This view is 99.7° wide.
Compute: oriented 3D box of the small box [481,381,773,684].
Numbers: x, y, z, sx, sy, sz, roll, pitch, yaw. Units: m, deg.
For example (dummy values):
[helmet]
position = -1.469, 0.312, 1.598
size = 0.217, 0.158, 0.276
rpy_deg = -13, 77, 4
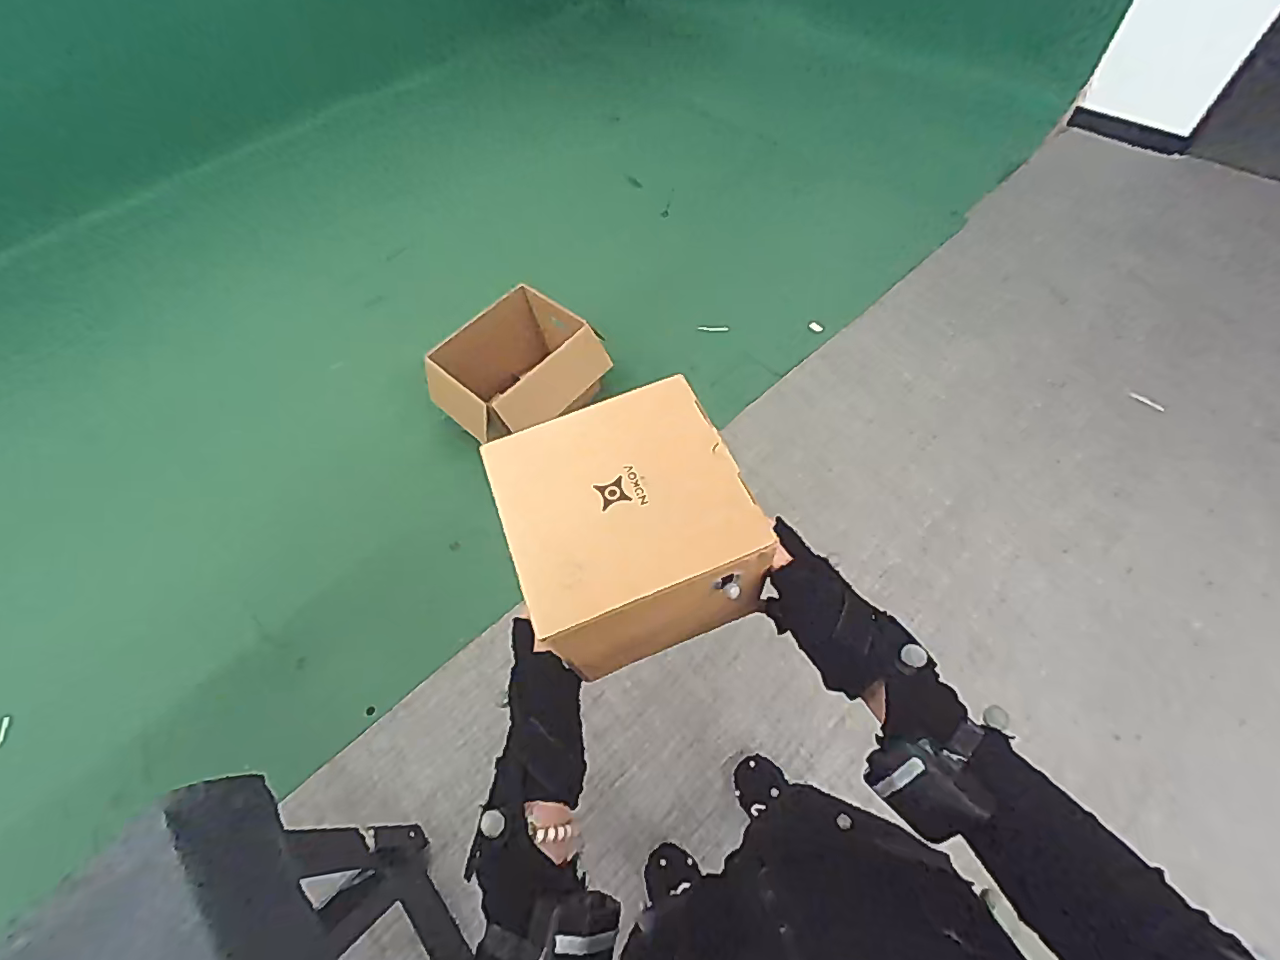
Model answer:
[small box]
position = -0.008, 0.054, 0.461
size = 0.179, 0.176, 0.168
rpy_deg = -22, 60, -7
